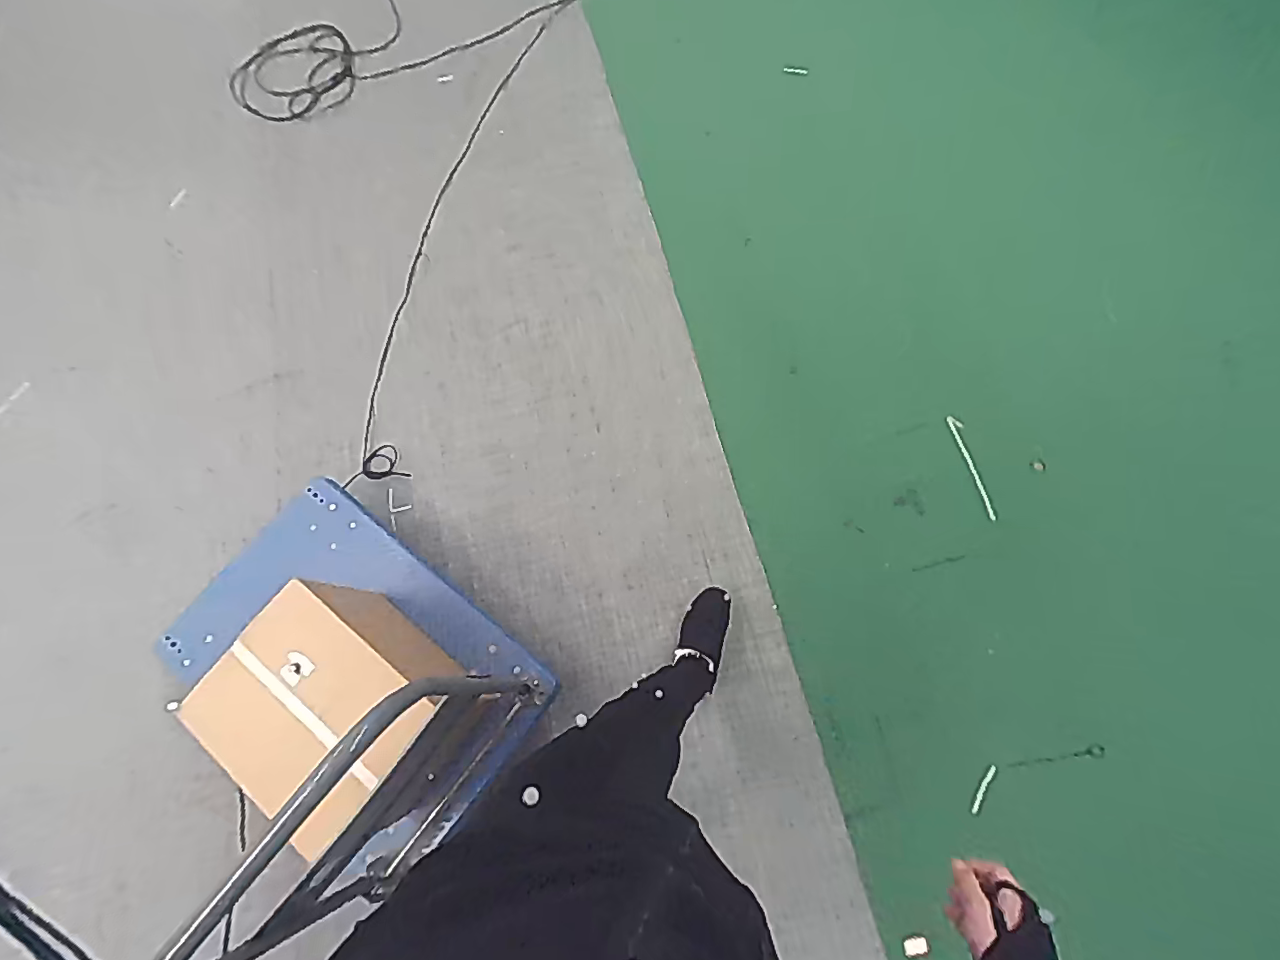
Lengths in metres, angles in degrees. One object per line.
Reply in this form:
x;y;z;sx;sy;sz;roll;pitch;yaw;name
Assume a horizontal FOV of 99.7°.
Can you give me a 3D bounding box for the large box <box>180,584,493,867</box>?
-0.589;0.470;1.118;0.408;0.320;0.320;35;78;14;large box
